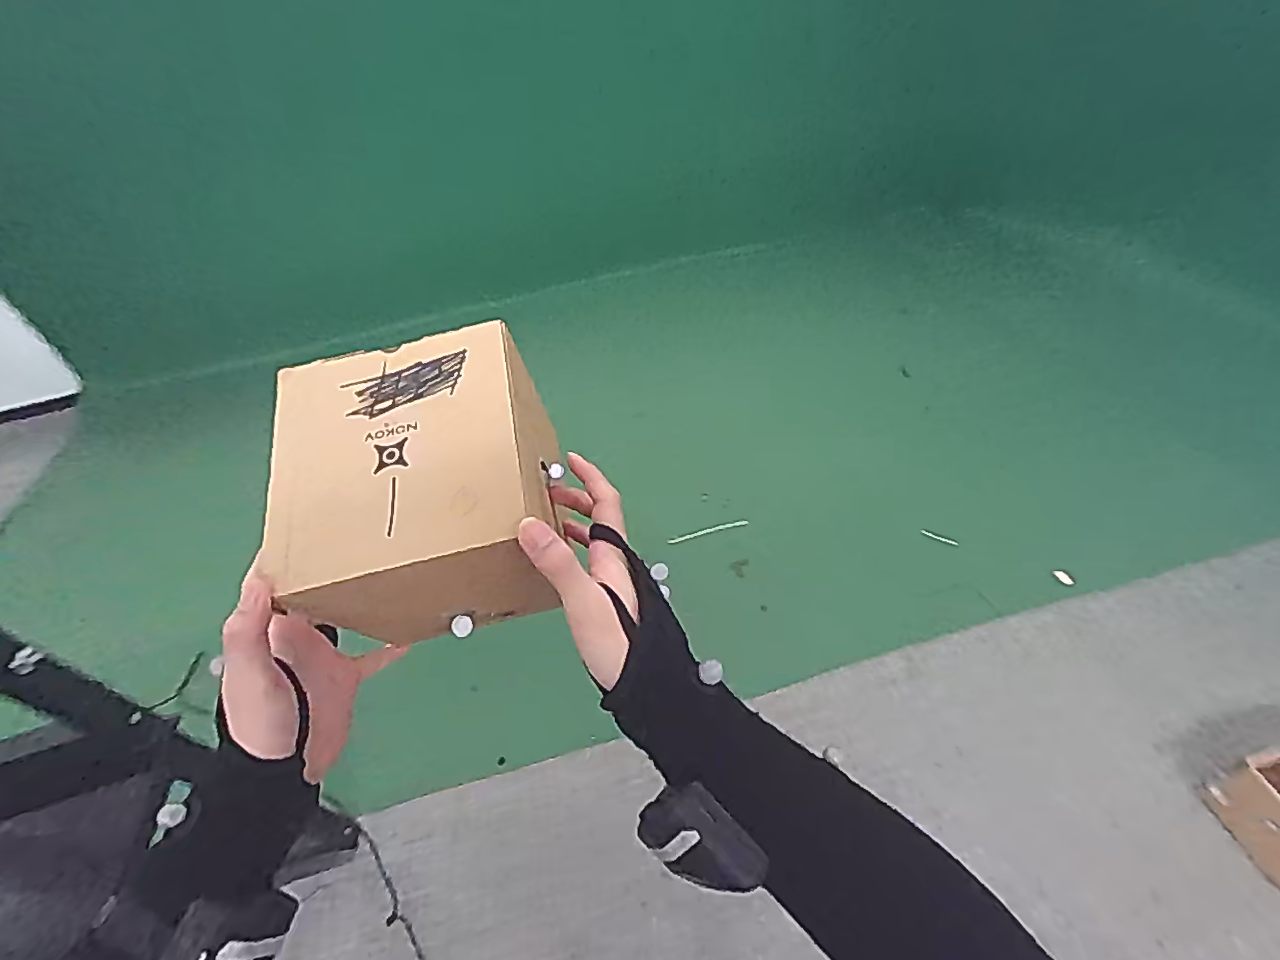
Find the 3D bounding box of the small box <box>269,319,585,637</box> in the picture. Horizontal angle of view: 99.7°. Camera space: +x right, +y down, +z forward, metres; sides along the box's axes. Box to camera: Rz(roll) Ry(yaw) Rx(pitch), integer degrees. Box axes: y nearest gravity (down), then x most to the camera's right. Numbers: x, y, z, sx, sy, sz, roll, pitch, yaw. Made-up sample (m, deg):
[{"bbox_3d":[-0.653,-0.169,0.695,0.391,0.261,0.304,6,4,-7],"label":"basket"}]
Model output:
[{"bbox_3d":[-0.147,0.008,0.427,0.168,0.176,0.179,-13,64,0],"label":"small box"}]
